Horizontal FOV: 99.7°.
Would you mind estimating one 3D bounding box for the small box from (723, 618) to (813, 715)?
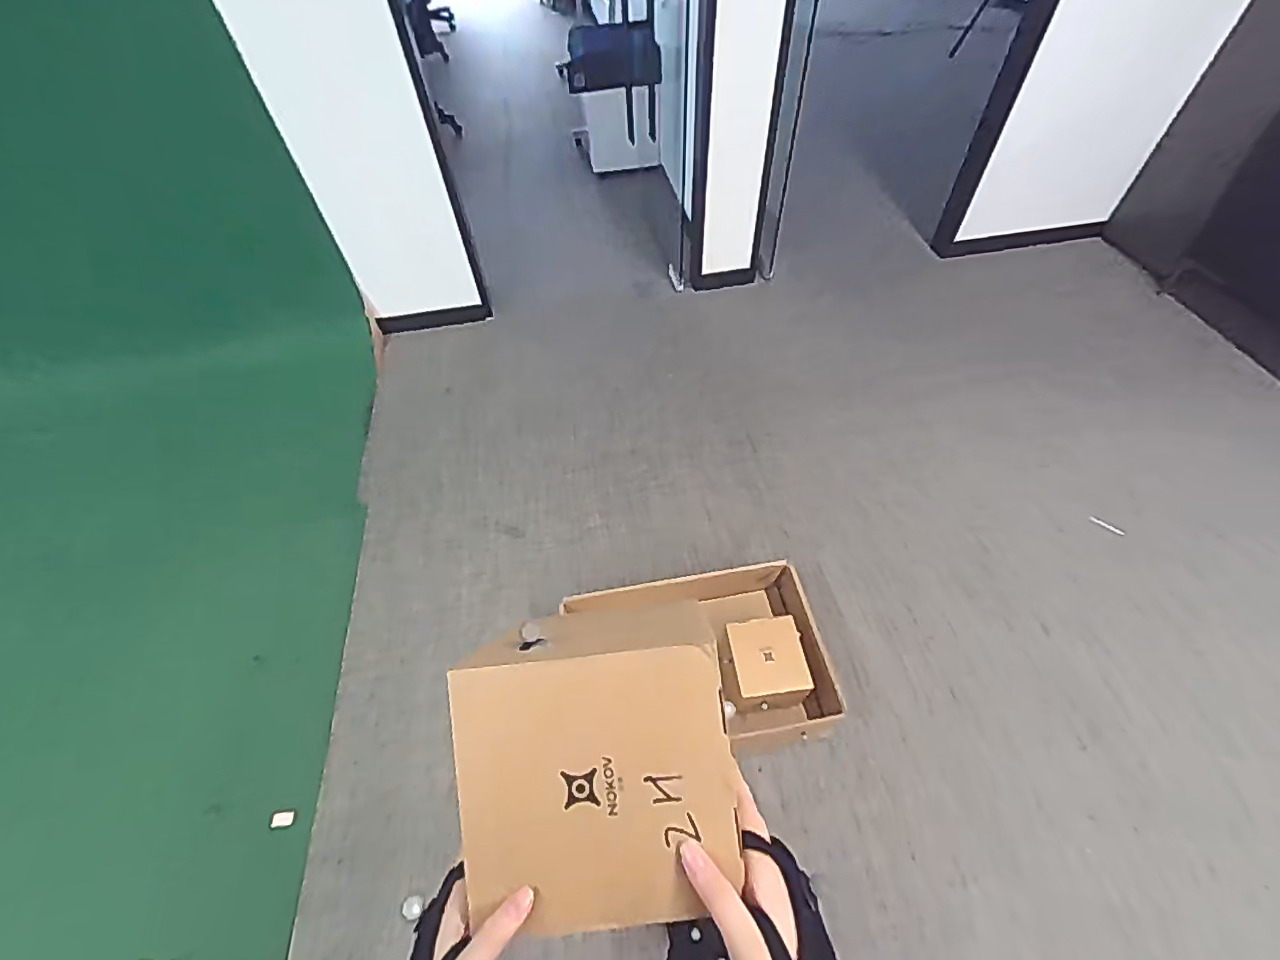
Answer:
[{"bbox_3d":[0.301,0.458,1.308,0.168,0.176,0.179,-7,52,-2],"label":"small box"}]

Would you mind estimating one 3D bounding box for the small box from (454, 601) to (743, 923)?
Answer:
[{"bbox_3d":[-0.025,0.196,0.425,0.179,0.176,0.168,-7,86,1],"label":"small box"}]
